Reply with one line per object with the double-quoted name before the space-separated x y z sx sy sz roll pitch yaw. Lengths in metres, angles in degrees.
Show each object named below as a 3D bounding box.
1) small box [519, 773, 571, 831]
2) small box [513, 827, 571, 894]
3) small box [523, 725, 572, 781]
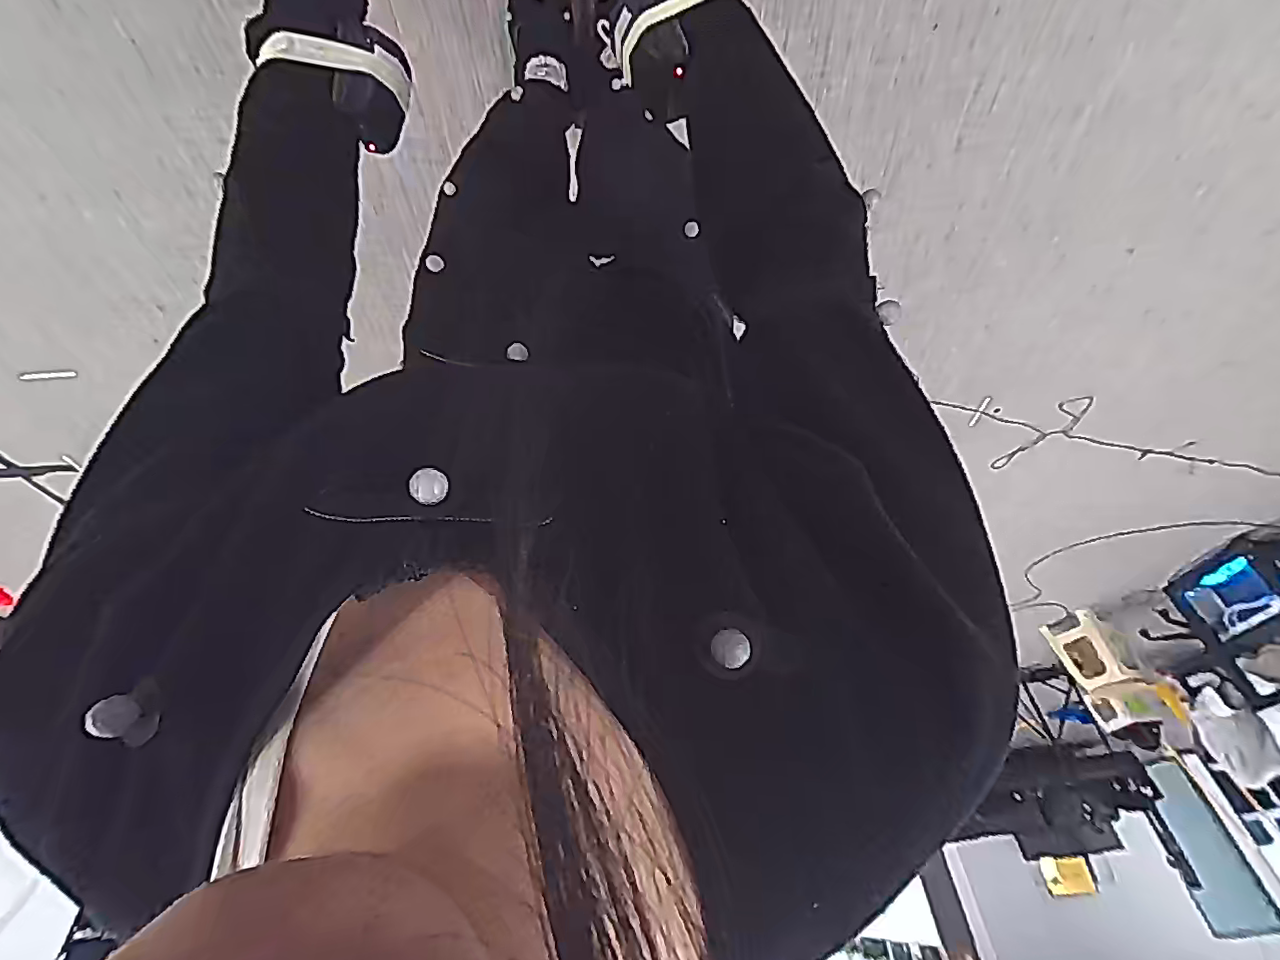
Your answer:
"small box" -0.333 1.154 1.922 0.168 0.176 0.179 -3 140 -5
"small box" -0.322 1.266 1.803 0.168 0.176 0.179 -4 142 -1
"small box" -0.344 1.025 2.022 0.168 0.176 0.179 -2 141 -4
